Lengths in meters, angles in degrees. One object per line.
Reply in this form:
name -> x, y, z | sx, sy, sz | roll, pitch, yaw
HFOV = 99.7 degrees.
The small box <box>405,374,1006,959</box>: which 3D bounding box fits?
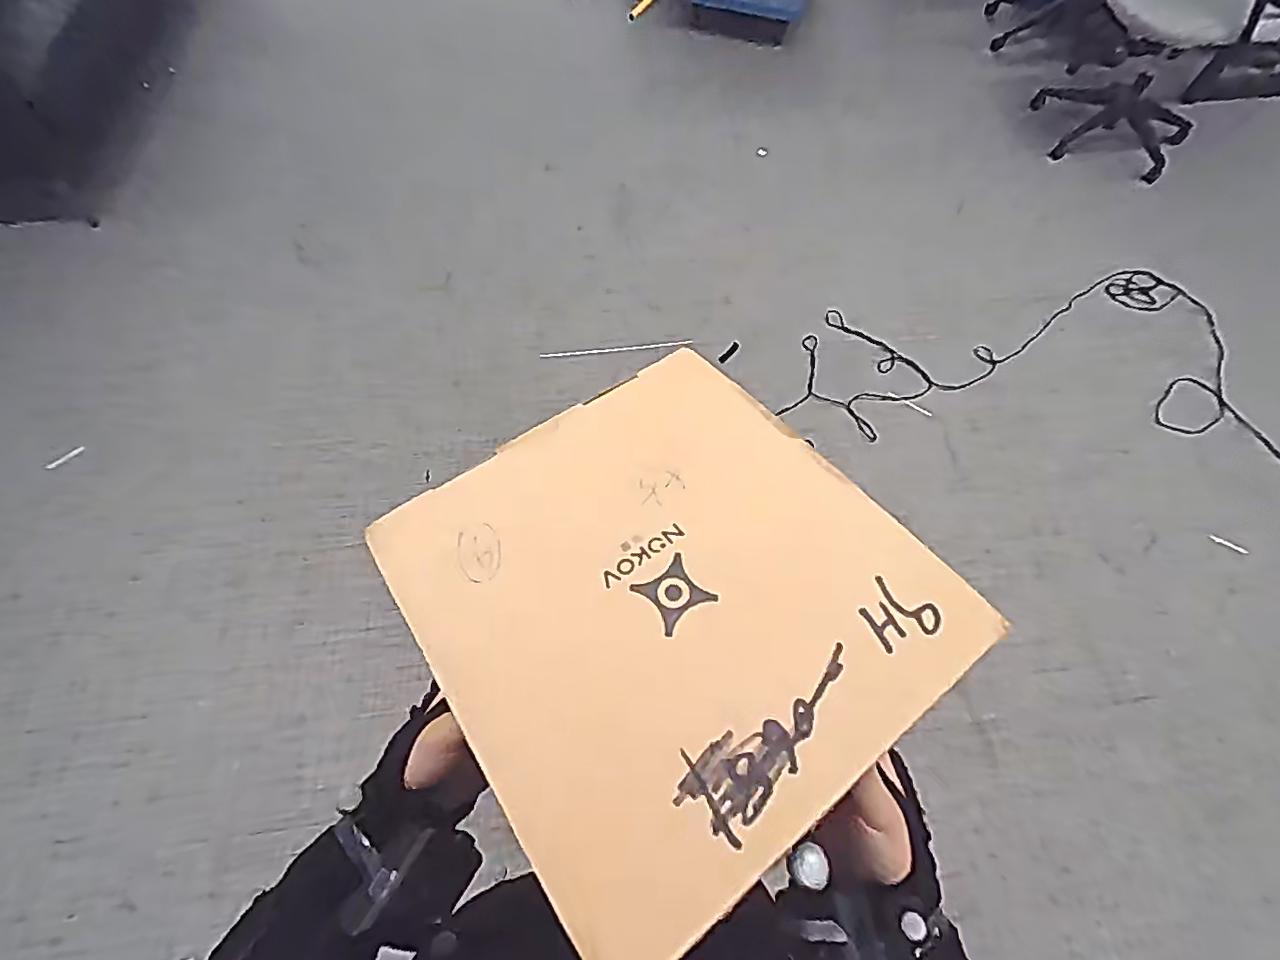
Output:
small box -> 0.020, 0.087, 0.274 | 0.168, 0.176, 0.179 | -34, 60, -17
